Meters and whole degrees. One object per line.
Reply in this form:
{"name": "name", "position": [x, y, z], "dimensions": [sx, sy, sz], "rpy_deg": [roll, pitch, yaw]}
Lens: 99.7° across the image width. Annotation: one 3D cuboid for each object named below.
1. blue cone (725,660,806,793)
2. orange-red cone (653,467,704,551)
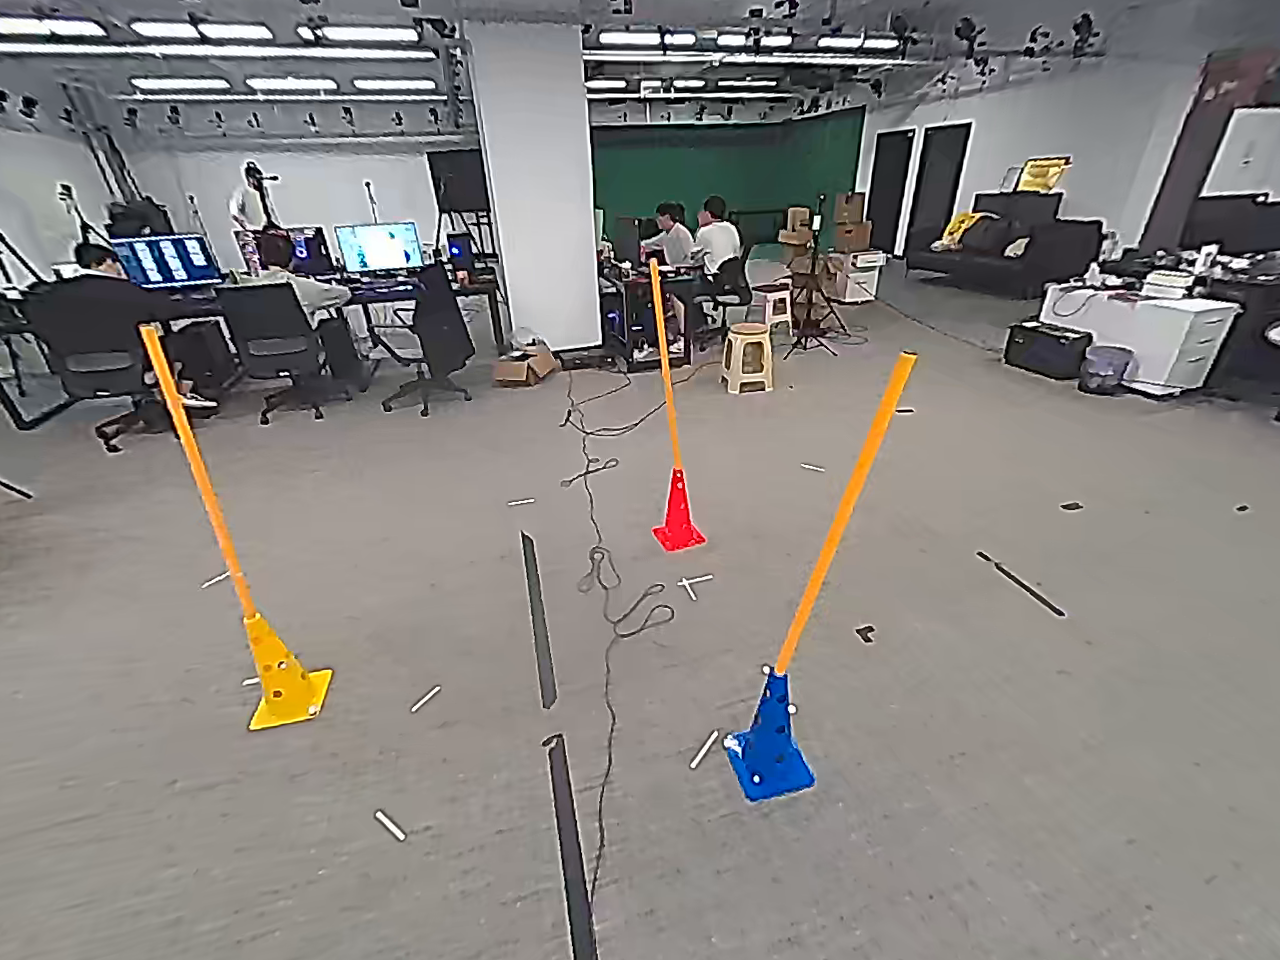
{"name": "blue cone", "position": [0.346, 0.636, 1.444], "dimensions": [0.193, 0.380, 0.192], "rpy_deg": [-8, 28, -10]}
{"name": "orange-red cone", "position": [0.166, 0.107, 2.404], "dimensions": [0.199, 0.360, 0.198], "rpy_deg": [-13, 30, -16]}
